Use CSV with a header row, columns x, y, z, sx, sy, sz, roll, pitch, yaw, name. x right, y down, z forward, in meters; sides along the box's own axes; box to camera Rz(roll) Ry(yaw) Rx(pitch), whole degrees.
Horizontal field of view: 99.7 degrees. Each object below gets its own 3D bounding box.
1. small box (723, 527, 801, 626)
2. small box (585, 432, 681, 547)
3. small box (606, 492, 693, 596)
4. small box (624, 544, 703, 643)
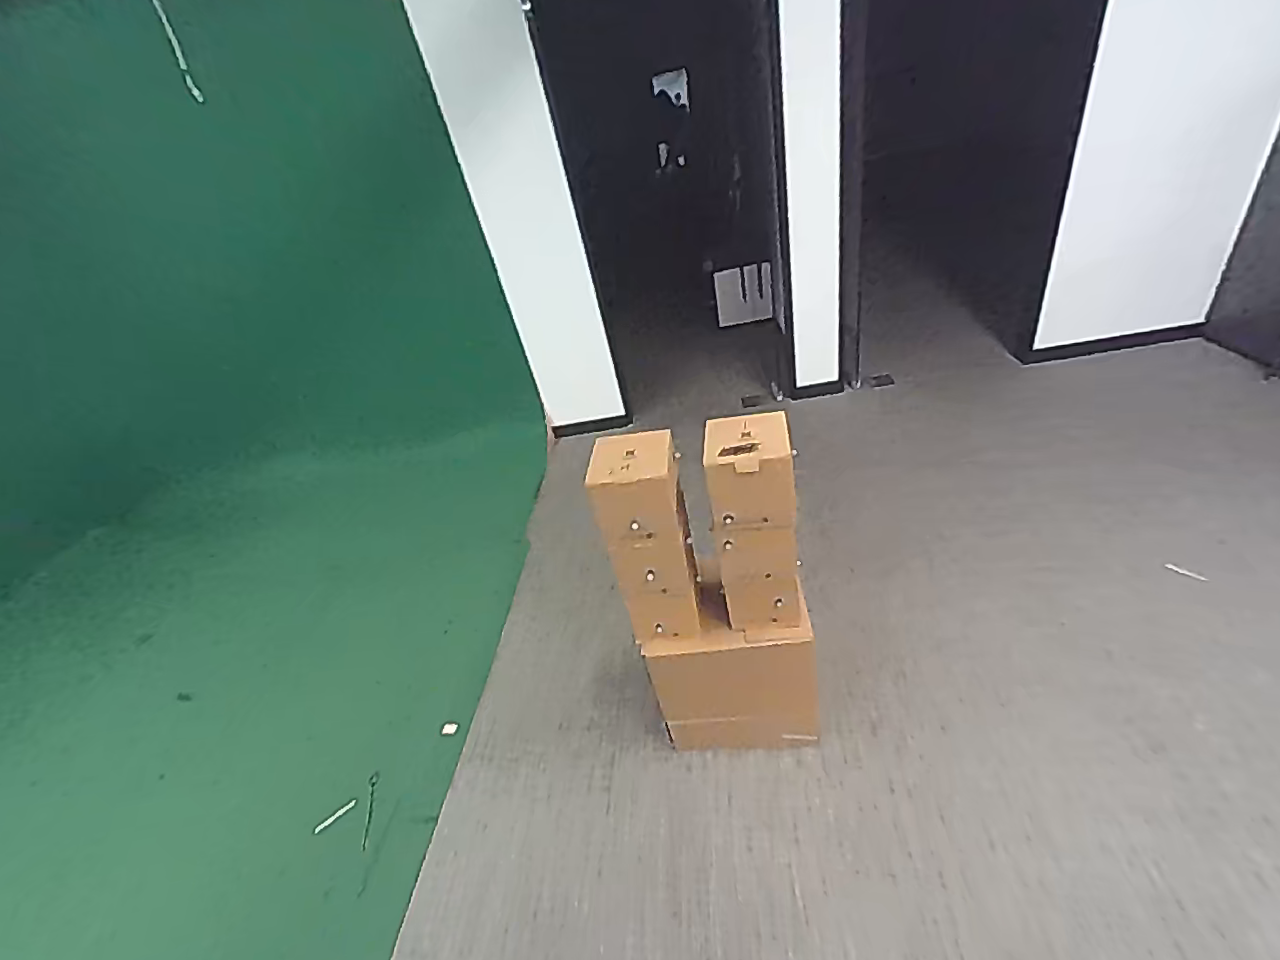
x,y,z,sx,sy,sz,roll,pitch,yaw,name
0.295,0.240,1.310,0.168,0.176,0.179,-7,34,13,small box
-0.007,0.020,1.151,0.168,0.176,0.179,-7,36,11,small box
0.029,0.153,1.243,0.168,0.176,0.179,-6,37,10,small box
0.063,0.280,1.341,0.168,0.176,0.179,-7,36,9,small box
